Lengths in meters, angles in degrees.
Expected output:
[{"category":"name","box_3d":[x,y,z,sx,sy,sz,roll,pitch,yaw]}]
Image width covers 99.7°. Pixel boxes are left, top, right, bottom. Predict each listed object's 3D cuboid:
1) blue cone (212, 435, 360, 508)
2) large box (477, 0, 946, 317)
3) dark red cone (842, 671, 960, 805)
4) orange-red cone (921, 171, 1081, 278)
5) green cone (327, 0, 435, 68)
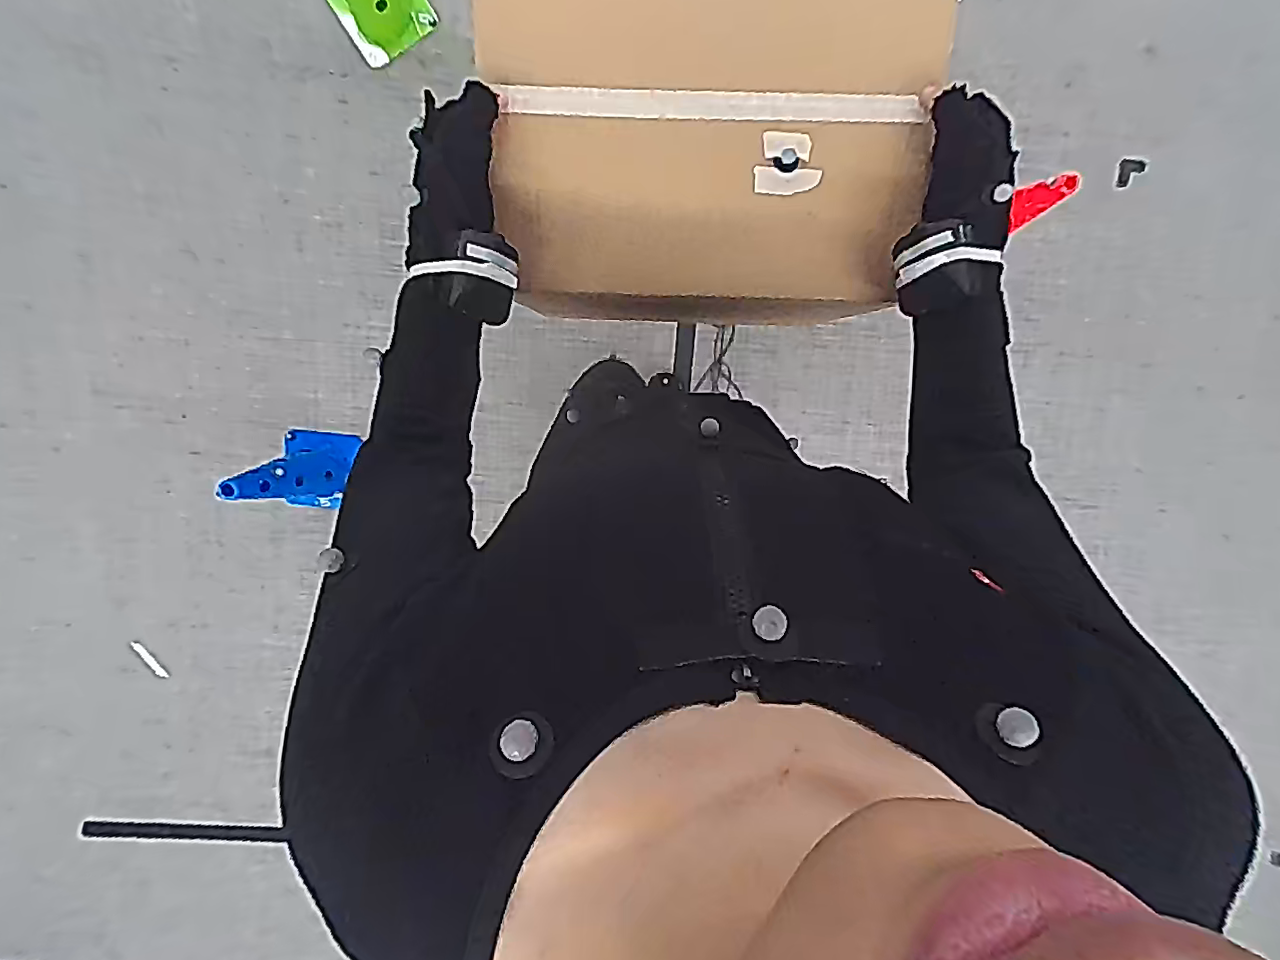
[{"category":"blue cone","box_3d":[-0.840,0.000,1.274,0.192,0.380,0.193,7,97,-2]},{"category":"large box","box_3d":[0.057,-0.362,0.618,0.408,0.320,0.320,1,102,-1]},{"category":"dark red cone","box_3d":[0.687,0.670,1.380,0.201,0.394,0.202,9,97,-2]},{"category":"orange-red cone","box_3d":[0.841,-0.614,1.237,0.198,0.360,0.199,1,96,-3]},{"category":"green cone","box_3d":[-0.614,-1.098,1.117,0.202,0.368,0.200,-34,97,4]}]
